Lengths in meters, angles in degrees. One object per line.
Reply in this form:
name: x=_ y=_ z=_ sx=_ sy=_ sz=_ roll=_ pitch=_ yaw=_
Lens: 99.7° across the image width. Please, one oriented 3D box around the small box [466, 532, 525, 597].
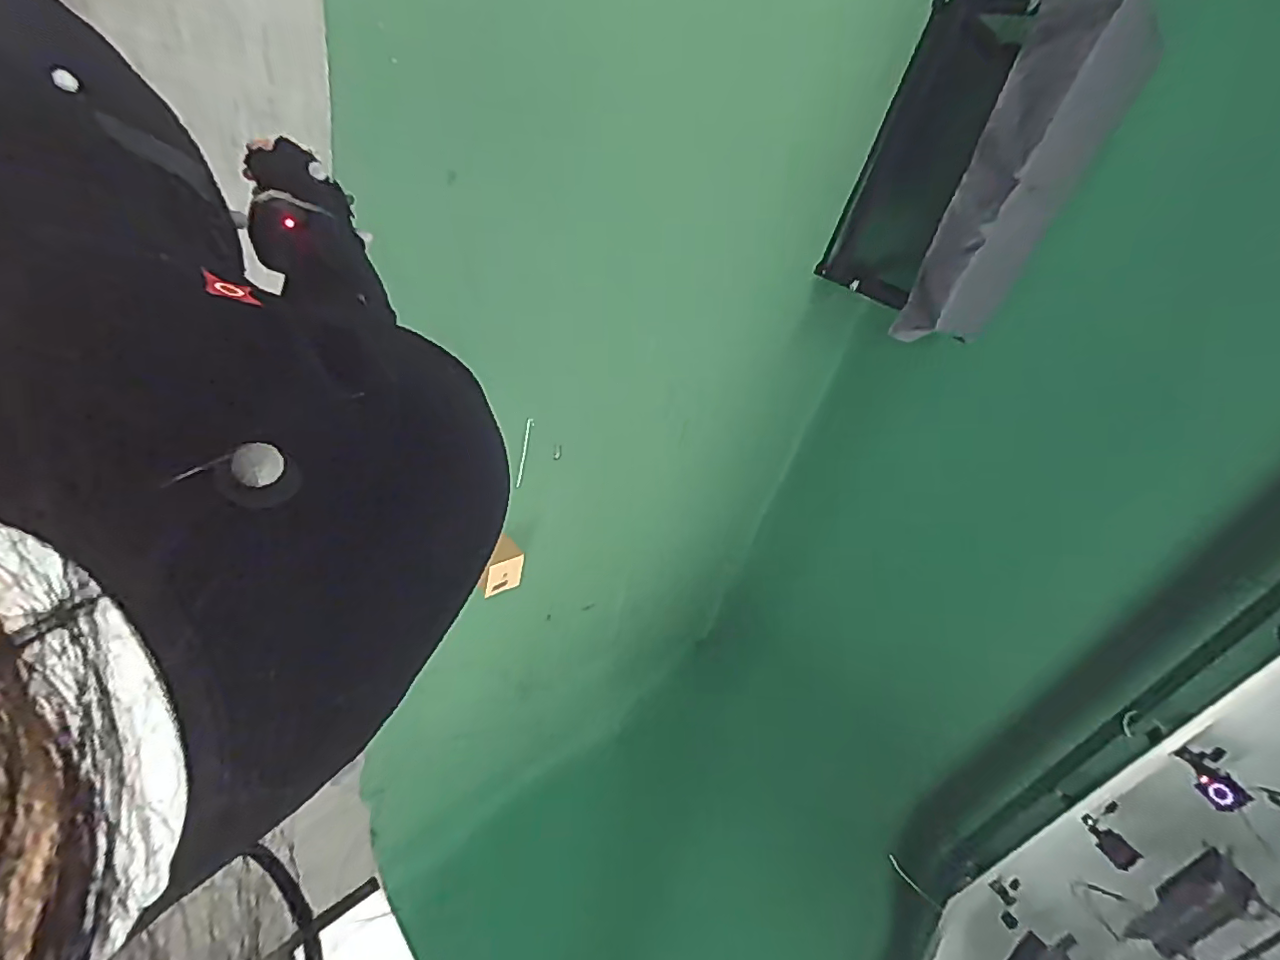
small box: x=-0.603 y=0.347 z=2.244 sx=0.168 sy=0.176 sz=0.179 roll=-16 pitch=134 yaw=-44
